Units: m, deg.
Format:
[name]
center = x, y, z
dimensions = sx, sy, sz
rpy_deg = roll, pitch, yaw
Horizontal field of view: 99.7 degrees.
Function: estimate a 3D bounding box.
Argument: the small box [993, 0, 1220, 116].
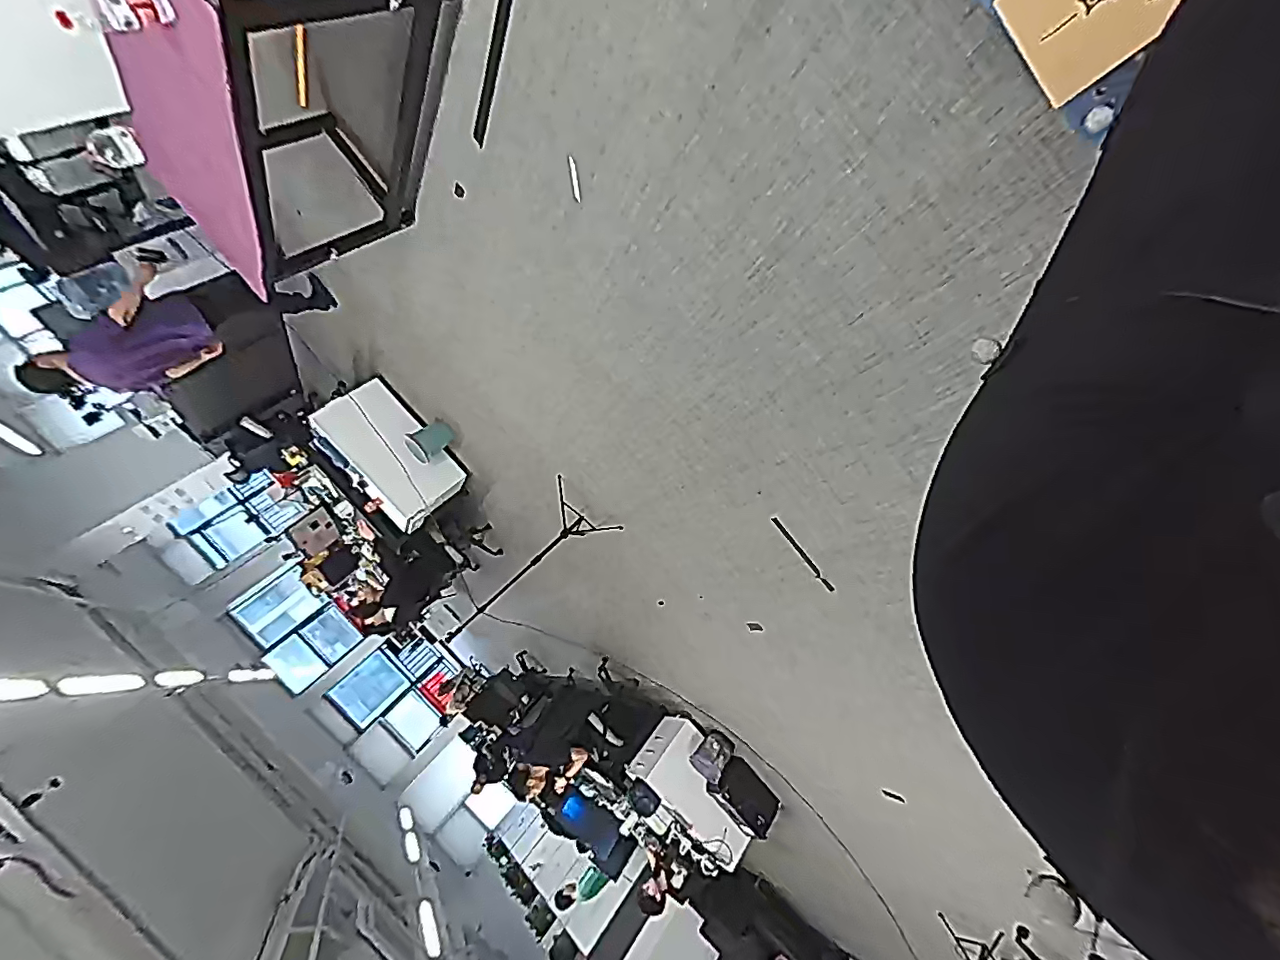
[small box]
center = 0.603, -0.624, 0.693
dimensions = 0.168, 0.176, 0.179
rpy_deg = 52, 149, -8
